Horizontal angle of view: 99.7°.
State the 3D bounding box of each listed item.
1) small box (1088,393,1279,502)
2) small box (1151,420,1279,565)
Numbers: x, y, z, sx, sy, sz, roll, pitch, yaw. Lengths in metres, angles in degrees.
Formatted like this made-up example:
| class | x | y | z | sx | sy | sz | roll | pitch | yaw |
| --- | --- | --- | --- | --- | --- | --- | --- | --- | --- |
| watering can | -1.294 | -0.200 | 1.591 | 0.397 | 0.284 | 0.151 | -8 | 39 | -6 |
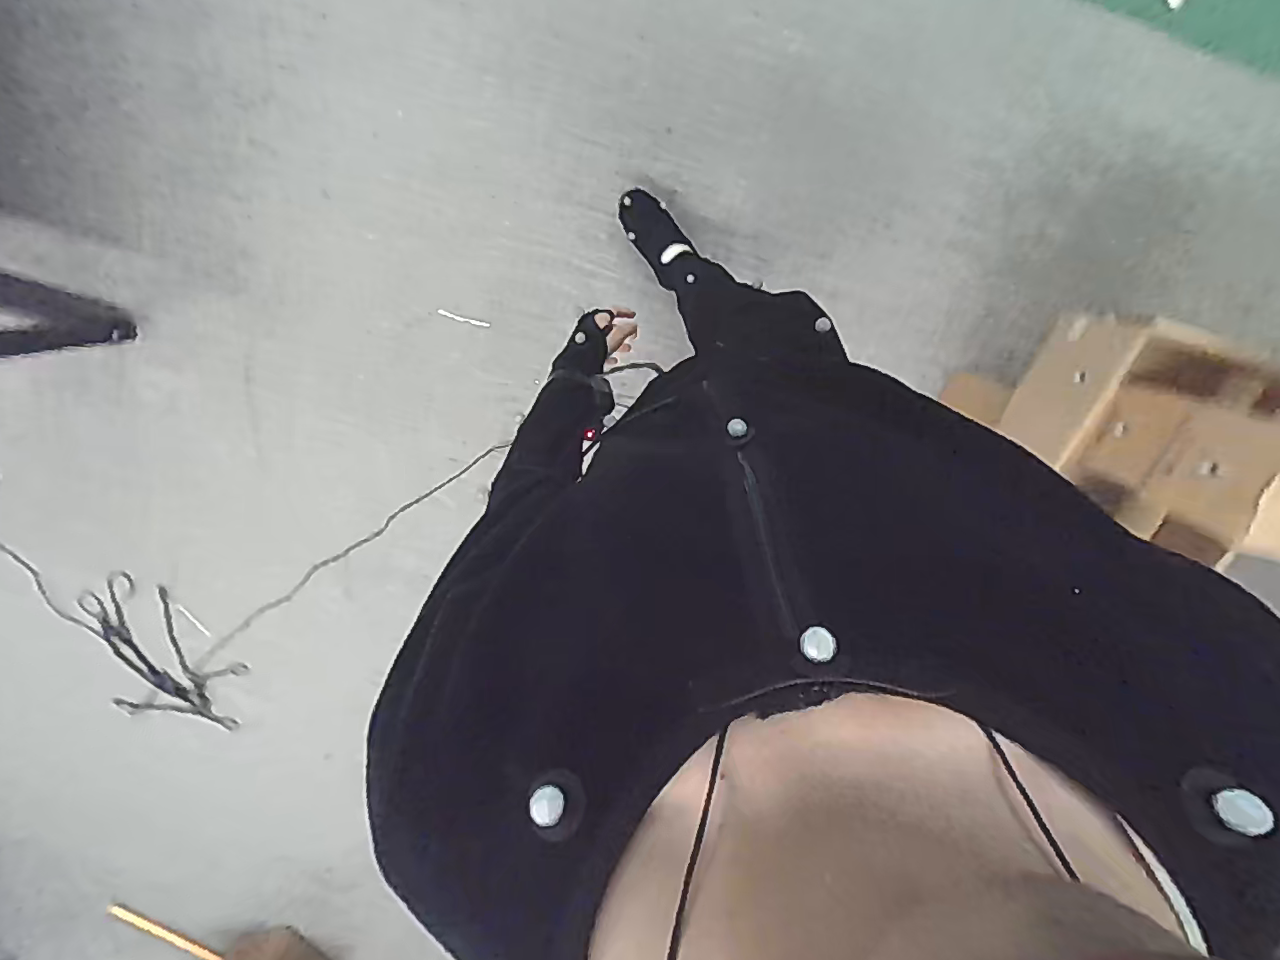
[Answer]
| class | x | y | z | sx | sy | sz | roll | pitch | yaw |
| --- | --- | --- | --- | --- | --- | --- | --- | --- | --- |
| small box | 0.958 | -0.041 | 0.944 | 0.179 | 0.176 | 0.168 | 15 | 111 | -2 |
| small box | 0.932 | 0.023 | 0.794 | 0.179 | 0.176 | 0.168 | 15 | 112 | -2 |
